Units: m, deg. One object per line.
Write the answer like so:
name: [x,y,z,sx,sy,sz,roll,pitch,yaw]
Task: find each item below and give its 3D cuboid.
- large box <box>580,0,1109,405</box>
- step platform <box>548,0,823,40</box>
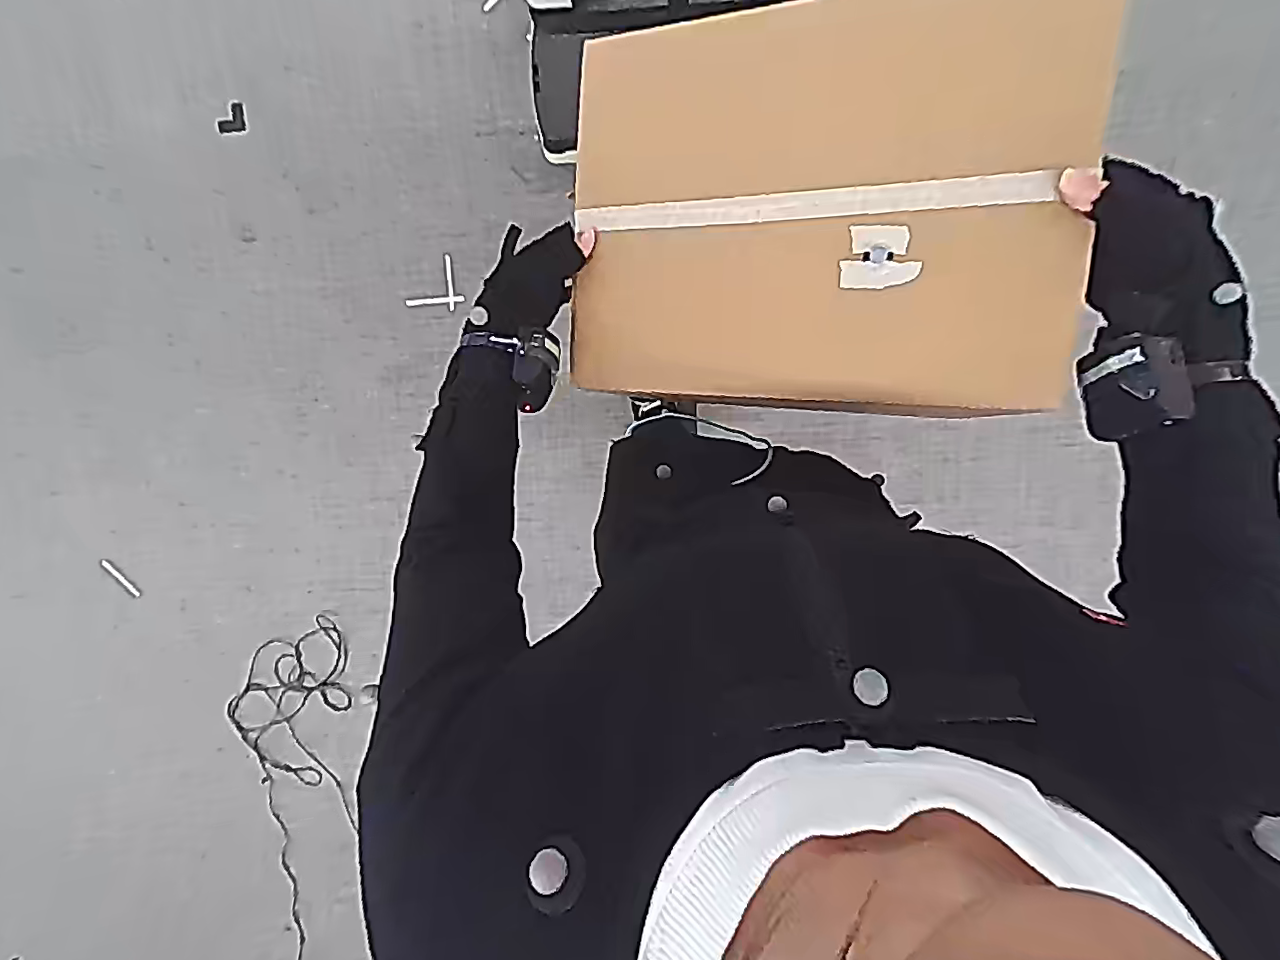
large box: [0.181,-0.247,0.592,0.408,0.320,0.320,5,98,19]
step platform: [0.112,-1.218,1.196,0.684,0.204,0.286,-3,97,2]
